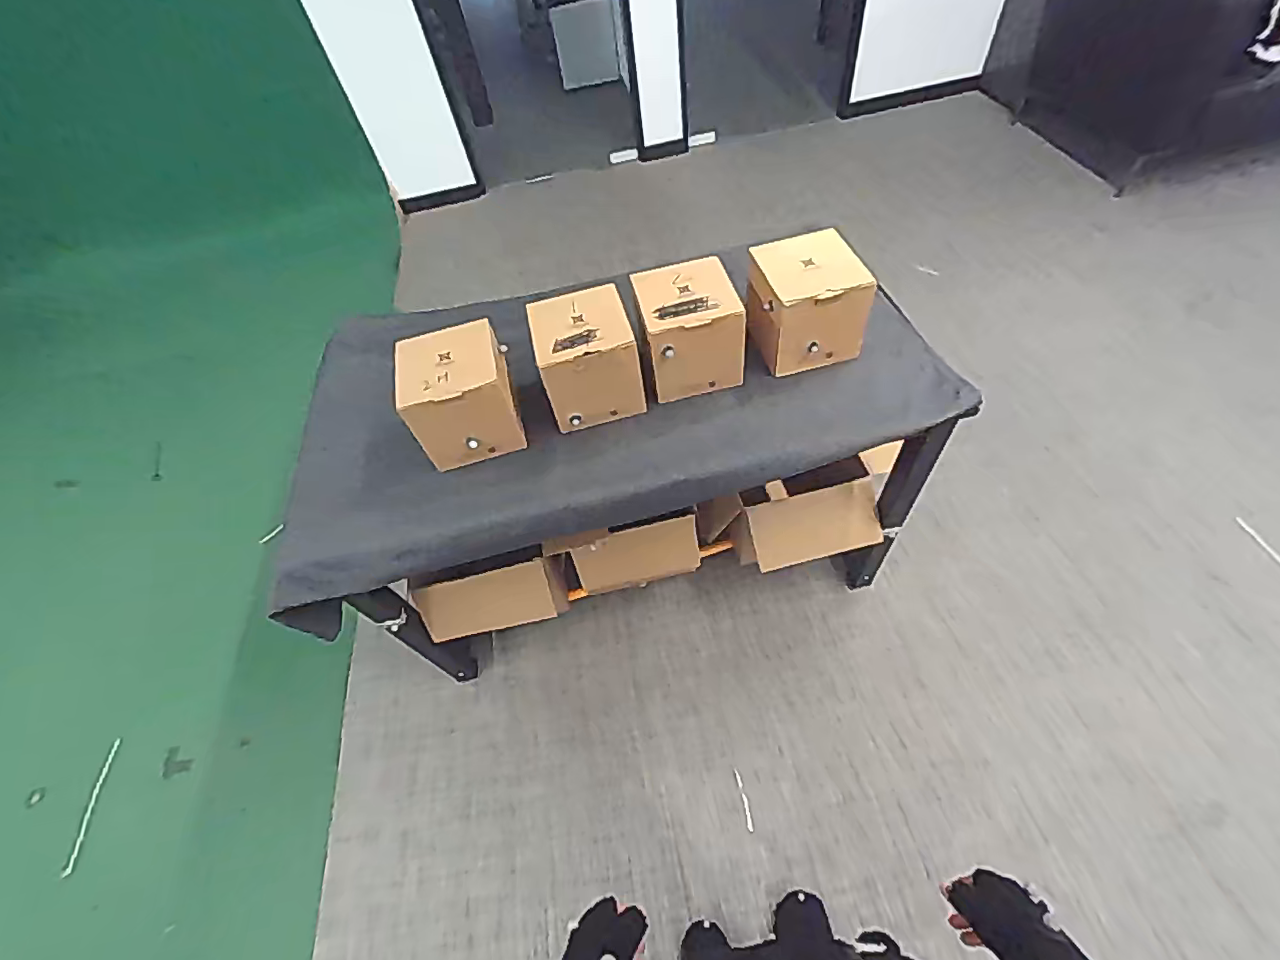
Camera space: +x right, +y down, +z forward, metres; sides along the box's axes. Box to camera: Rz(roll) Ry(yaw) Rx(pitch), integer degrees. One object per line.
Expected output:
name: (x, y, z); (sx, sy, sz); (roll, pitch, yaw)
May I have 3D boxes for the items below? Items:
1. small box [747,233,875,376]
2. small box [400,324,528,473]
small box: (0.304, -0.323, 1.005); (0.168, 0.176, 0.179); (-15, 54, -2)
small box: (-0.311, -0.143, 0.968); (0.168, 0.176, 0.179); (-17, 54, -3)
